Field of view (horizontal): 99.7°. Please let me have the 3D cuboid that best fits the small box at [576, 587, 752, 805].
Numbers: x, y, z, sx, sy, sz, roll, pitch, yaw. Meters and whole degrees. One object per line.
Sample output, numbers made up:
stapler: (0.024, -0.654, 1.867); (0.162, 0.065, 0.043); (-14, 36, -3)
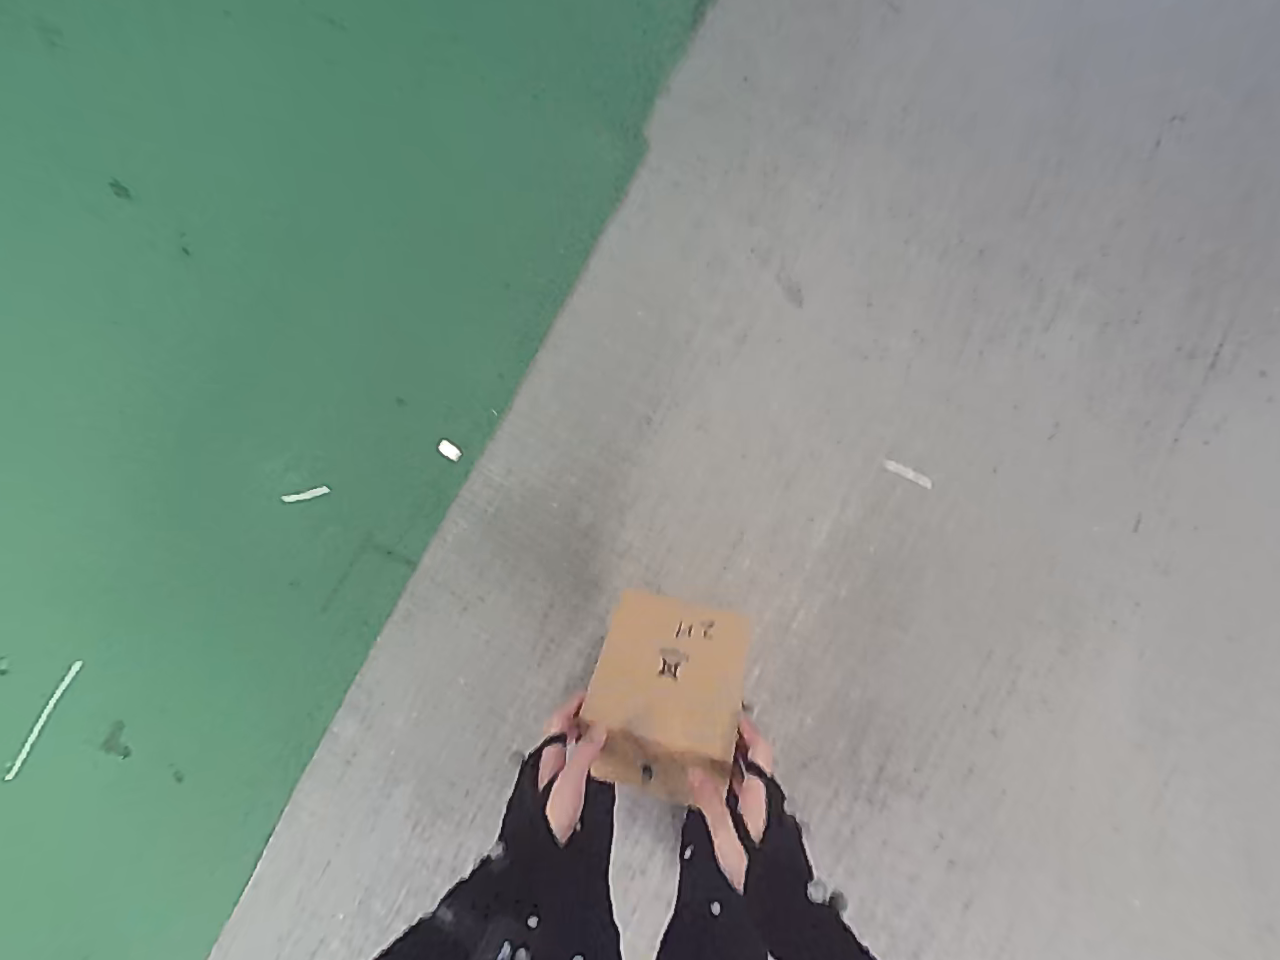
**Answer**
small box: (0.037, 0.263, 0.659); (0.168, 0.176, 0.179); (9, 44, 13)
